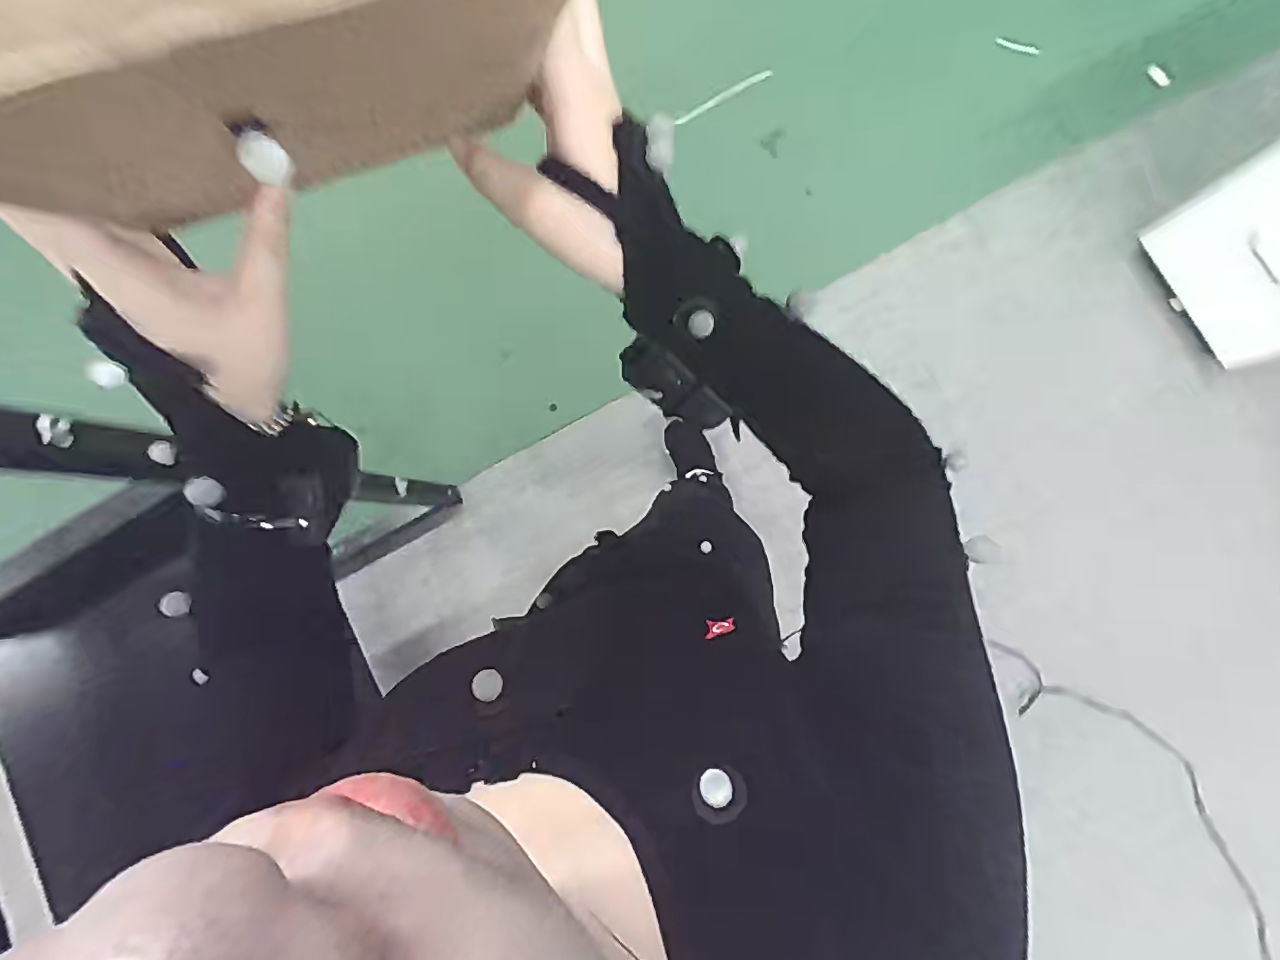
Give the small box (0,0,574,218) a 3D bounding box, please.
[{"bbox_3d":[-0.130,-0.196,0.165,0.179,0.176,0.168,-24,115,-10],"label":"small box"}]
